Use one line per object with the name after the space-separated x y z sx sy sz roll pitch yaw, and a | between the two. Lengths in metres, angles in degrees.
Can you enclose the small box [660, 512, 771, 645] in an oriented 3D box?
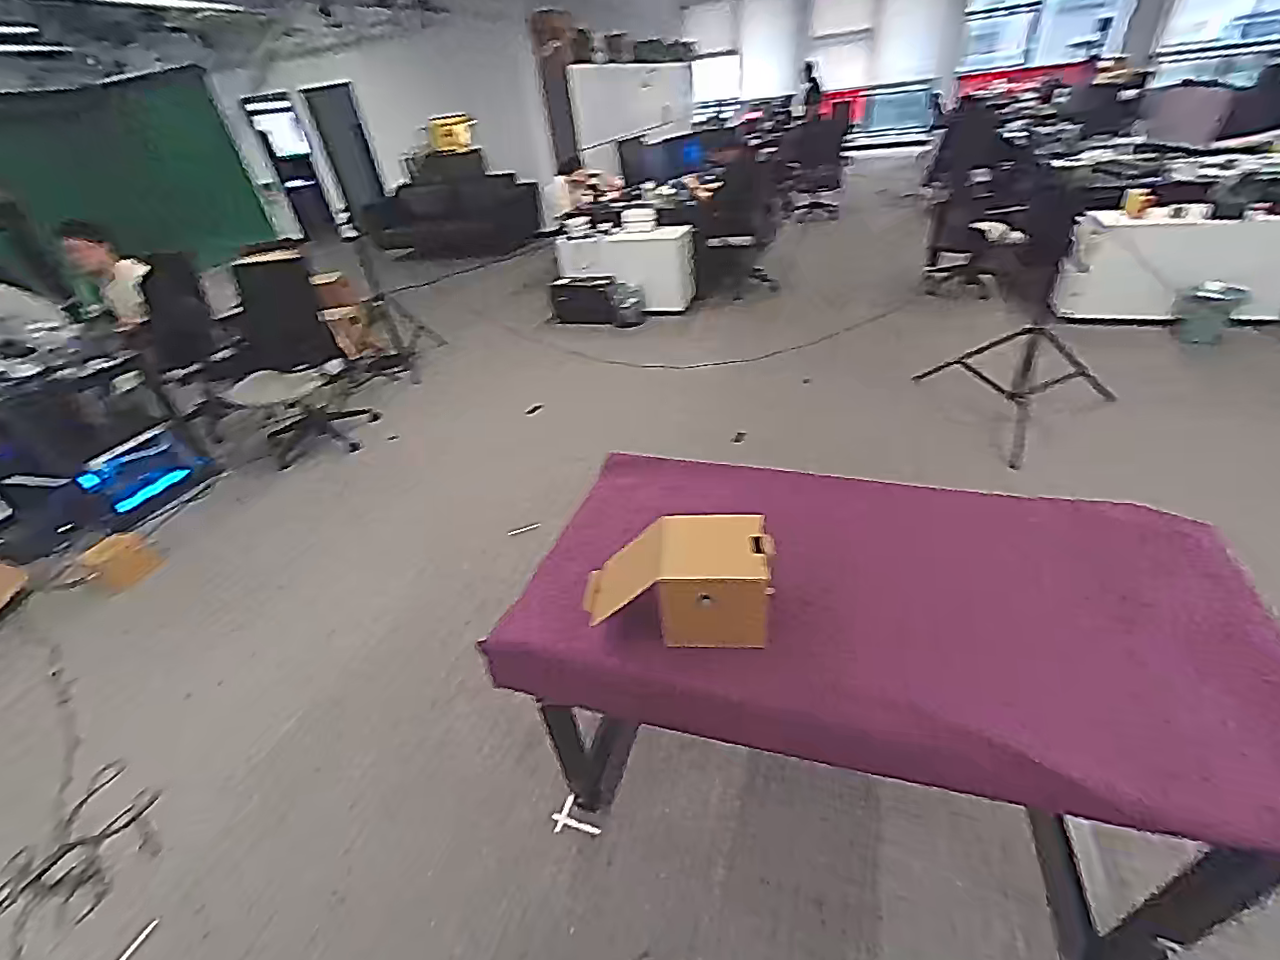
0.135 0.172 0.950 0.179 0.176 0.168 -1 36 9 | small box
